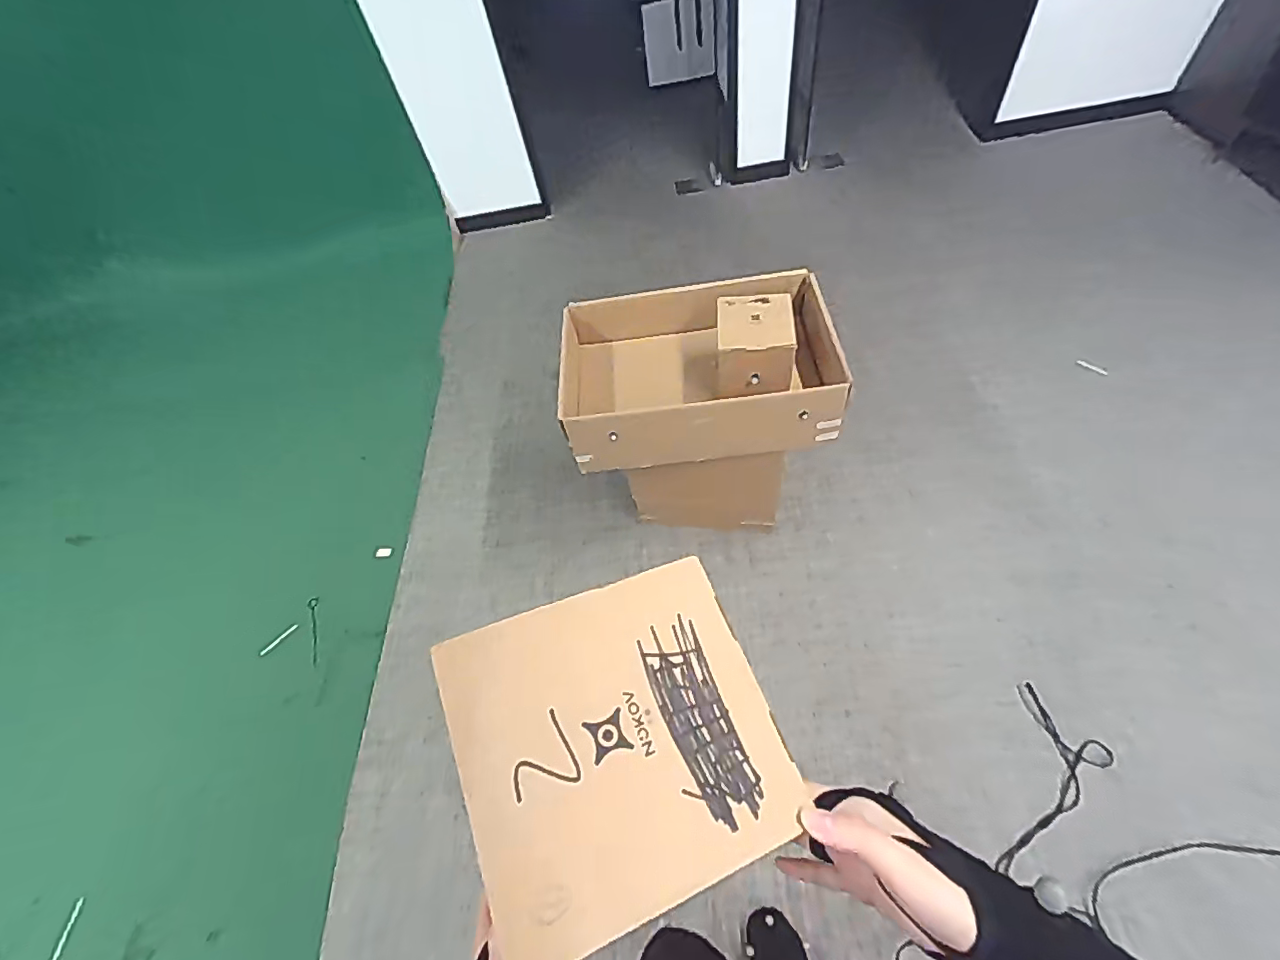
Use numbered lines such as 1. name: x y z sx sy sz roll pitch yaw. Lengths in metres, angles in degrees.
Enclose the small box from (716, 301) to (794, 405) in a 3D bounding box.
1. small box: 0.263 -0.288 1.256 0.168 0.176 0.179 0 56 8
